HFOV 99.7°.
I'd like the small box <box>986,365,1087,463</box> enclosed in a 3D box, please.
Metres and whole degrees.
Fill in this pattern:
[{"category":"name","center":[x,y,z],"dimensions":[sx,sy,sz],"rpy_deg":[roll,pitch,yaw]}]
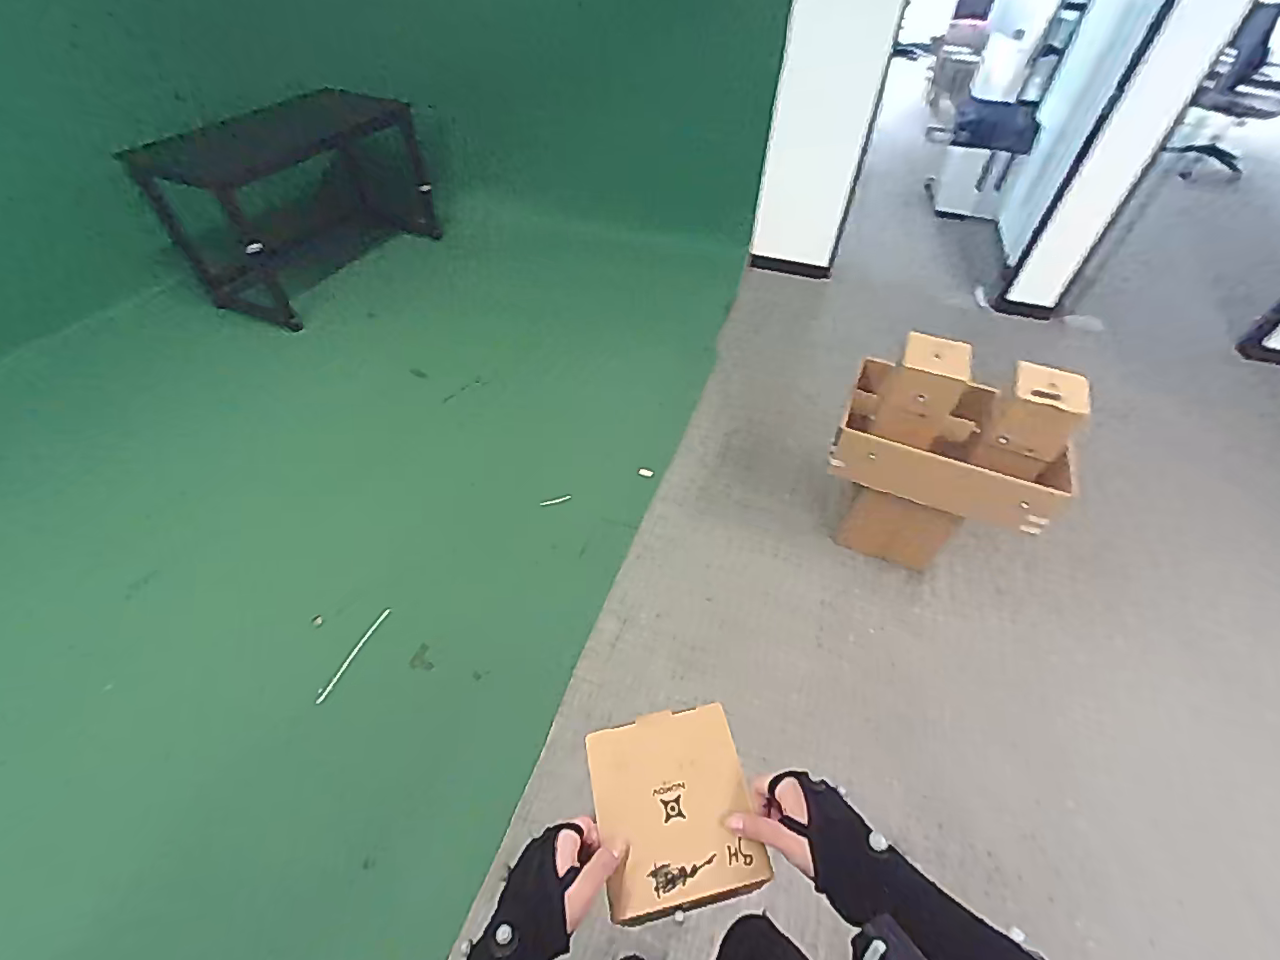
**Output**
[{"category":"small box","center":[1.059,-0.174,1.452],"dimensions":[0.168,0.176,0.179],"rpy_deg":[21,50,17]}]

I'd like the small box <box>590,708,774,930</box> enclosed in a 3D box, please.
[{"category":"small box","center":[0.040,0.397,0.634],"dimensions":[0.168,0.176,0.179],"rpy_deg":[-11,49,-5]}]

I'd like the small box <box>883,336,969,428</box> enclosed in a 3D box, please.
[{"category":"small box","center":[0.806,-0.275,1.532],"dimensions":[0.168,0.176,0.179],"rpy_deg":[19,52,14]}]
